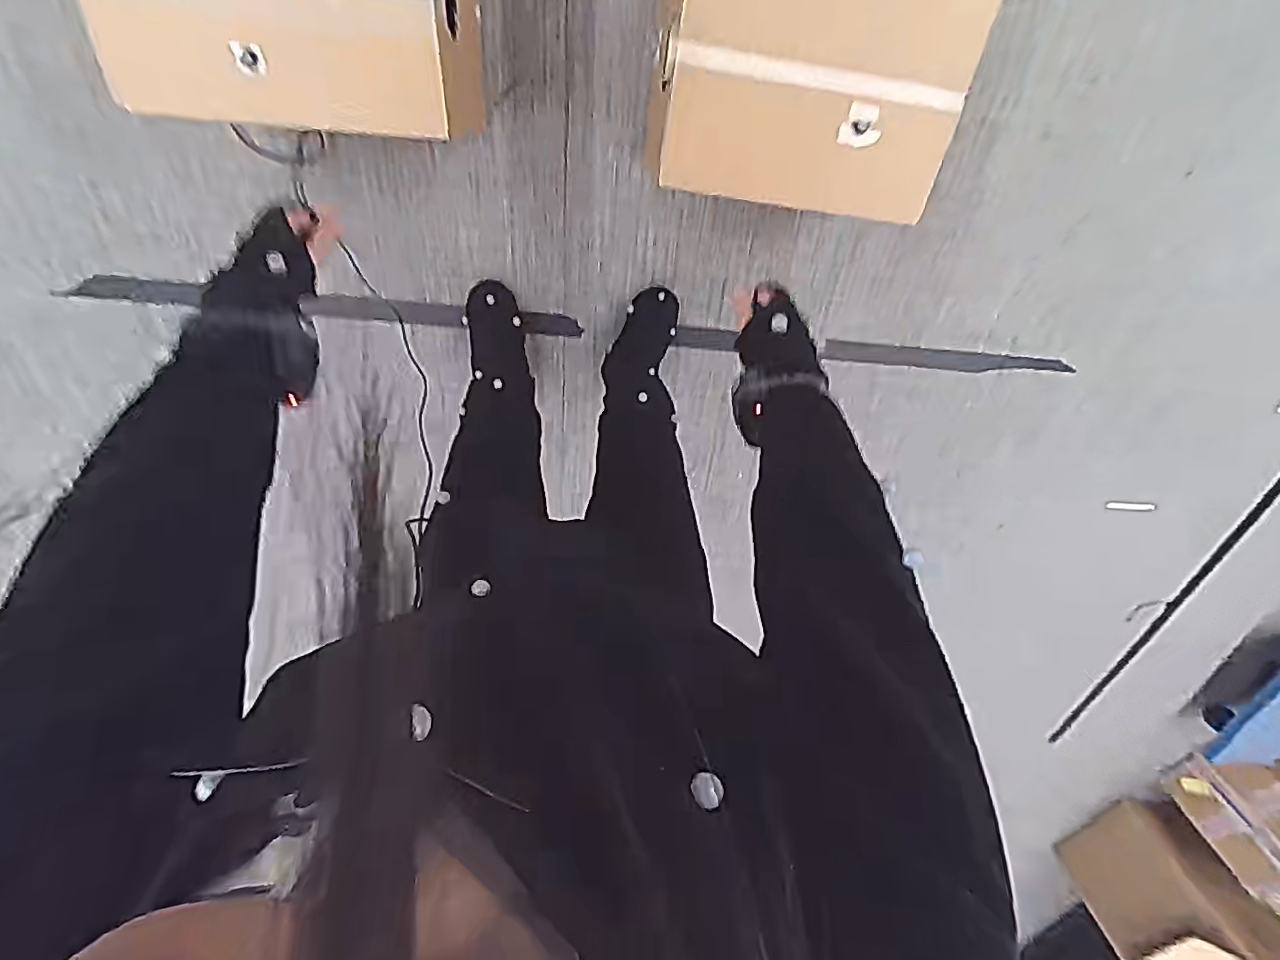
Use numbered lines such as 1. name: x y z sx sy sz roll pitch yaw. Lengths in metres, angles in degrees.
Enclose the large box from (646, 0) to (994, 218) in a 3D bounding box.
1. large box: 0.235 -0.624 0.852 0.408 0.320 0.320 5 123 -9
